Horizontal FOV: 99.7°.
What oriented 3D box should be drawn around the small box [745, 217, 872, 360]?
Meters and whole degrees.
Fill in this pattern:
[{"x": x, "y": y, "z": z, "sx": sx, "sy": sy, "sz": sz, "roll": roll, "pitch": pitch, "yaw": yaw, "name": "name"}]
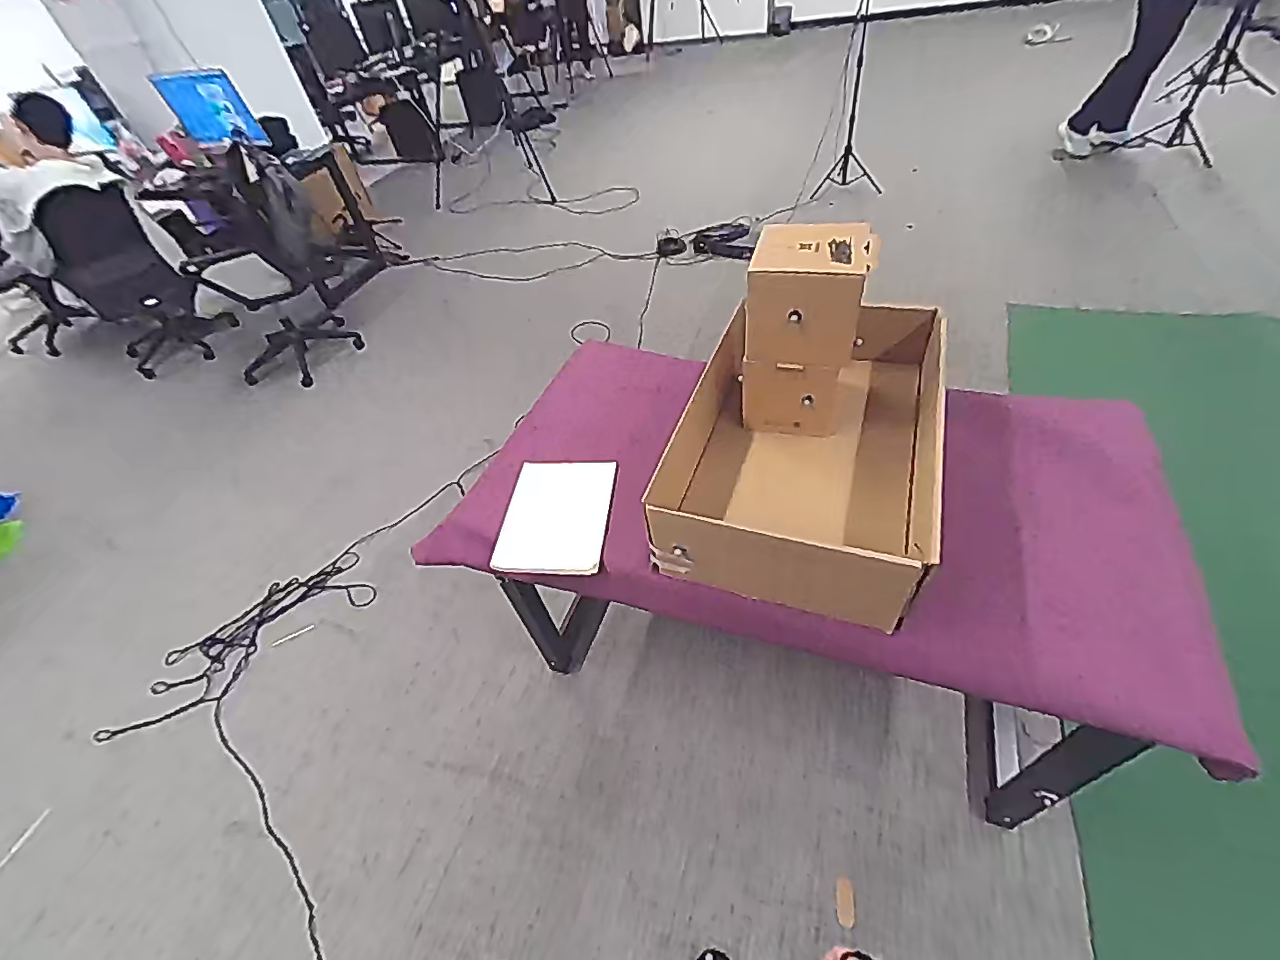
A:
[{"x": 0.279, "y": -0.321, "z": 0.912, "sx": 0.179, "sy": 0.176, "sz": 0.168, "roll": 9, "pitch": 50, "yaw": 18, "name": "small box"}]
